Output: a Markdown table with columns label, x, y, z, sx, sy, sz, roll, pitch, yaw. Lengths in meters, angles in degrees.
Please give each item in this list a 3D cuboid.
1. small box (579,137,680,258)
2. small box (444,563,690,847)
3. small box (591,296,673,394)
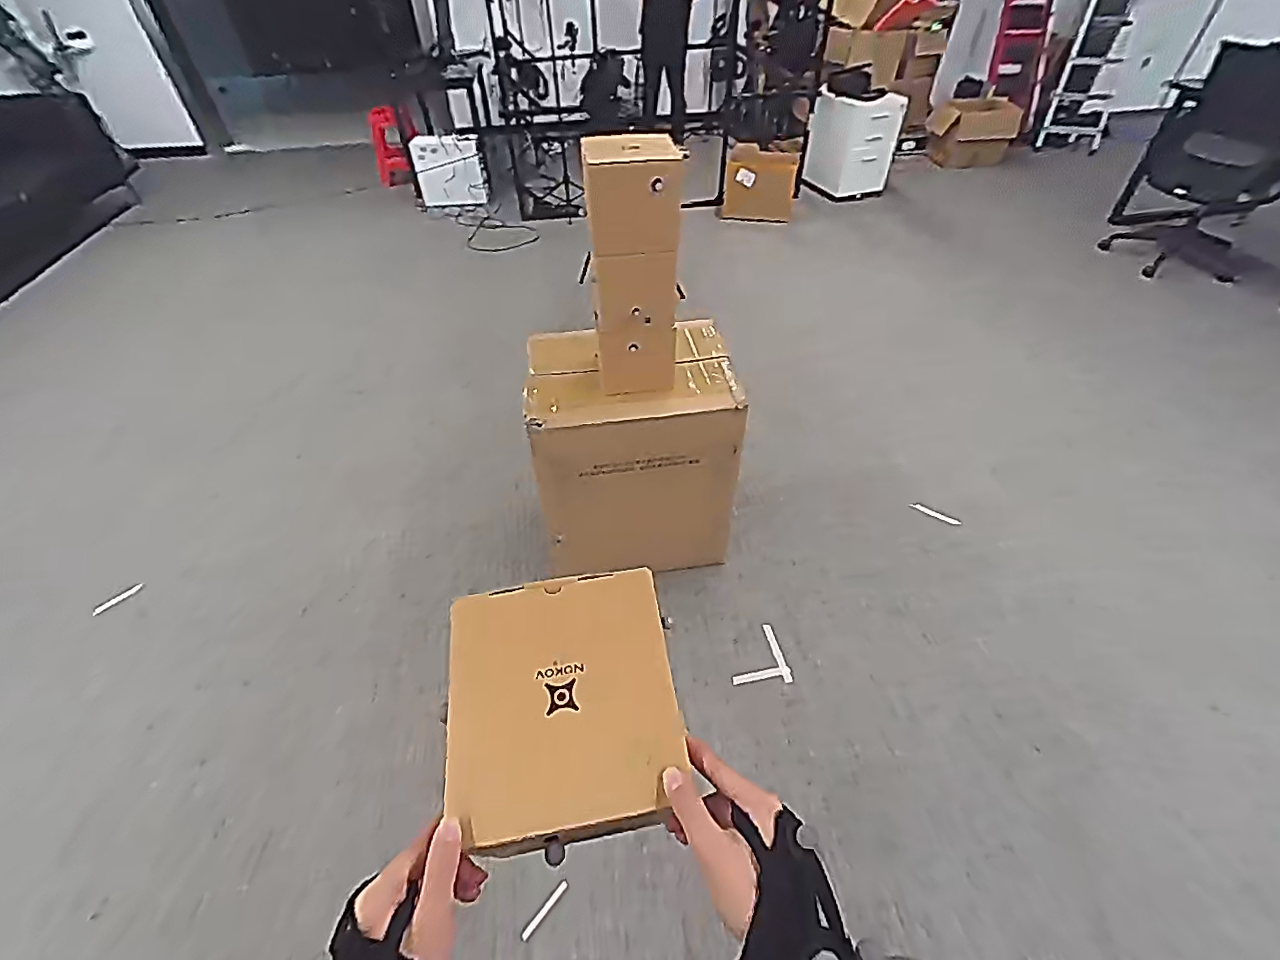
| label | x | y | z | sx | sy | sz | roll | pitch | yaw |
| --- | --- | --- | --- | --- | --- | --- | --- | --- | --- |
| small box | -0.024 | -0.558 | 1.073 | 0.179 | 0.176 | 0.168 | -7 | 46 | -5 |
| small box | -0.057 | 0.197 | 0.461 | 0.168 | 0.176 | 0.179 | -9 | 53 | -6 |
| small box | -0.019 | -0.322 | 1.302 | 0.179 | 0.176 | 0.168 | -6 | 46 | -5 |
